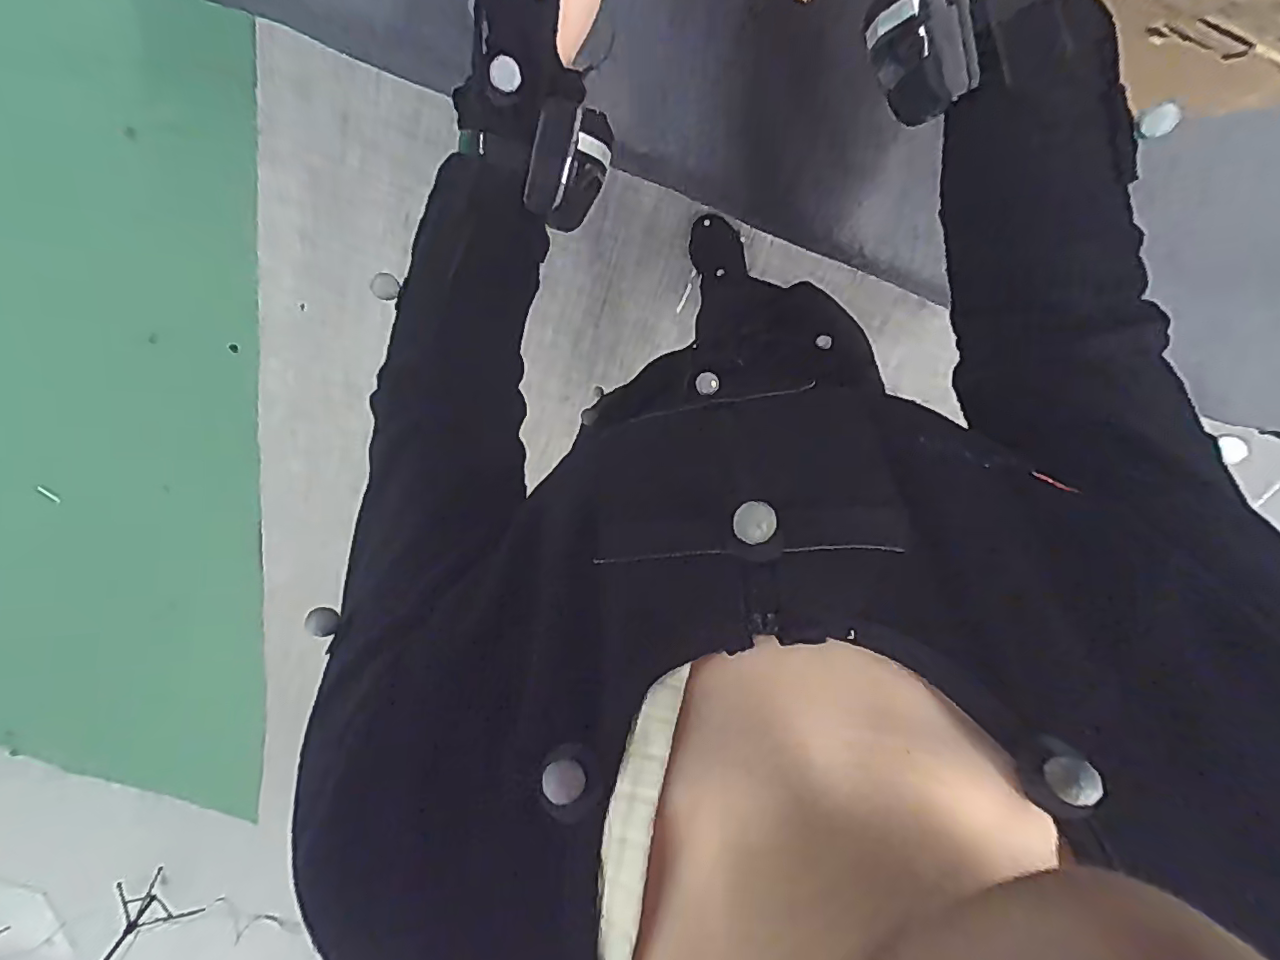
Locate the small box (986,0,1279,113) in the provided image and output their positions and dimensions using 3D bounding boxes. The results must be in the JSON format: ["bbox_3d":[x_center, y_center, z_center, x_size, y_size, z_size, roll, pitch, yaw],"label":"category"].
[{"bbox_3d":[0.351,-0.353,0.324,0.168,0.176,0.179,21,118,-6],"label":"small box"}]
